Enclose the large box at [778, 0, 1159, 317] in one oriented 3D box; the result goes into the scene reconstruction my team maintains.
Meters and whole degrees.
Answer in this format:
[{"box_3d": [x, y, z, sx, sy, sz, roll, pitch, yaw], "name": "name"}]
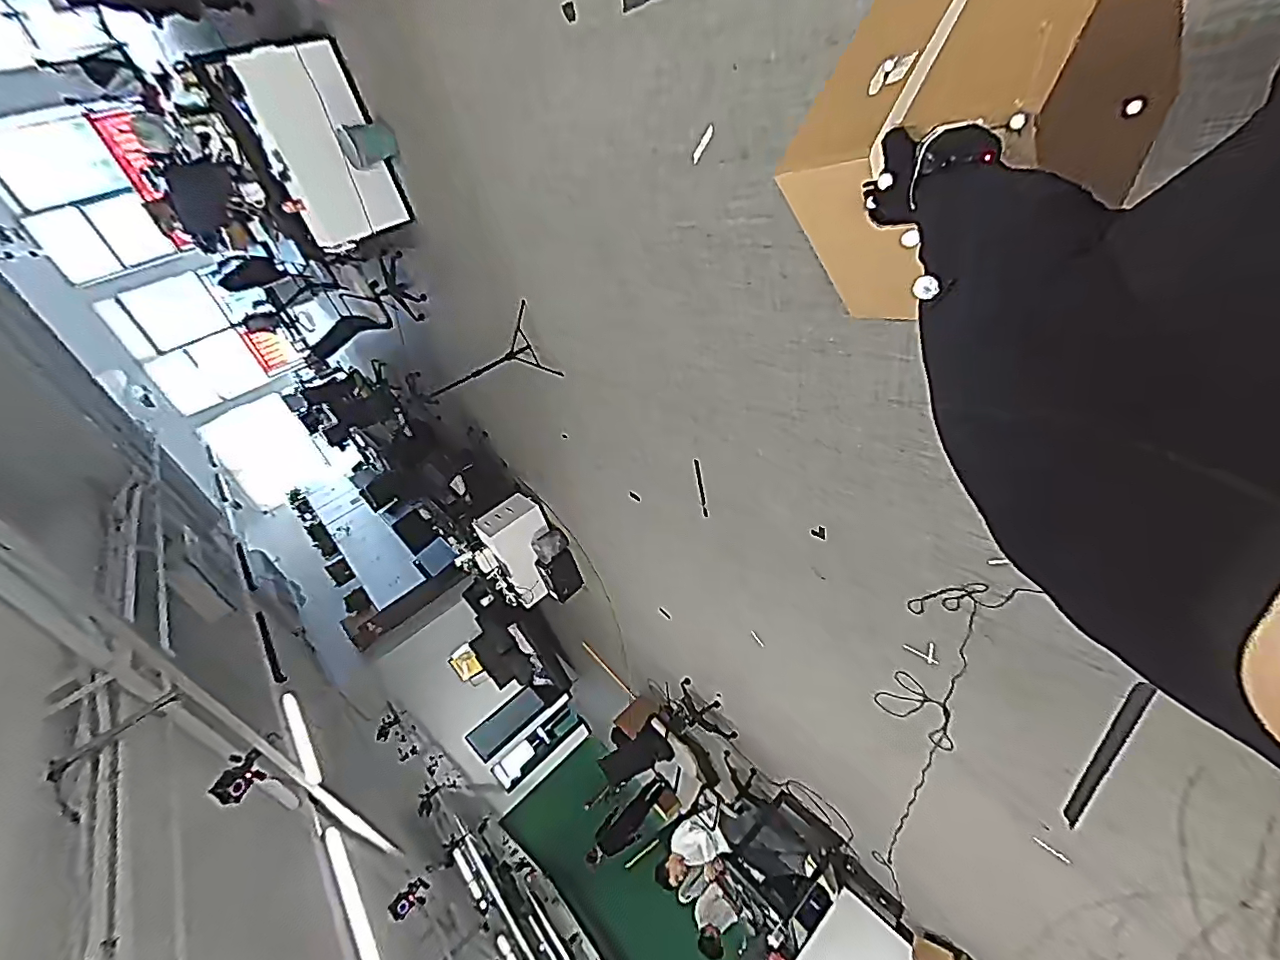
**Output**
[{"box_3d": [0.472, -0.495, 0.769, 0.320, 0.408, 0.320, 33, 173, -40], "name": "large box"}]
